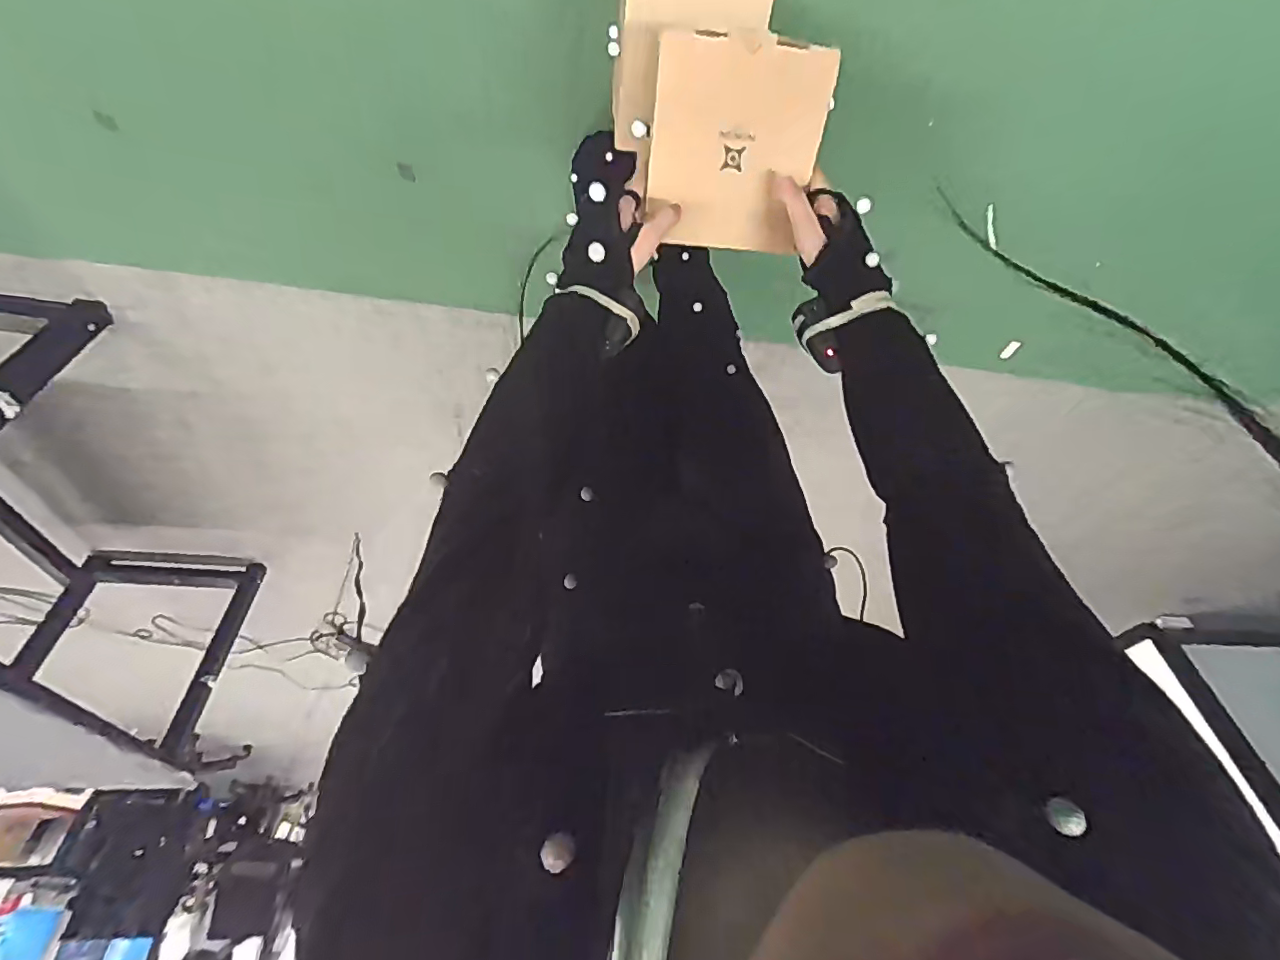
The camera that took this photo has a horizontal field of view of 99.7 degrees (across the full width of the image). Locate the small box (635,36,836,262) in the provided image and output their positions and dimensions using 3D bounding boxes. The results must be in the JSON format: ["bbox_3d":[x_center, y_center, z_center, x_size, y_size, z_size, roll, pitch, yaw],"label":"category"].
[{"bbox_3d":[0.085,-0.356,0.592,0.168,0.176,0.179,3,124,-6],"label":"small box"}]

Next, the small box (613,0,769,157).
[{"bbox_3d":[0.053,-0.542,0.713,0.168,0.176,0.179,4,138,-6],"label":"small box"}]
